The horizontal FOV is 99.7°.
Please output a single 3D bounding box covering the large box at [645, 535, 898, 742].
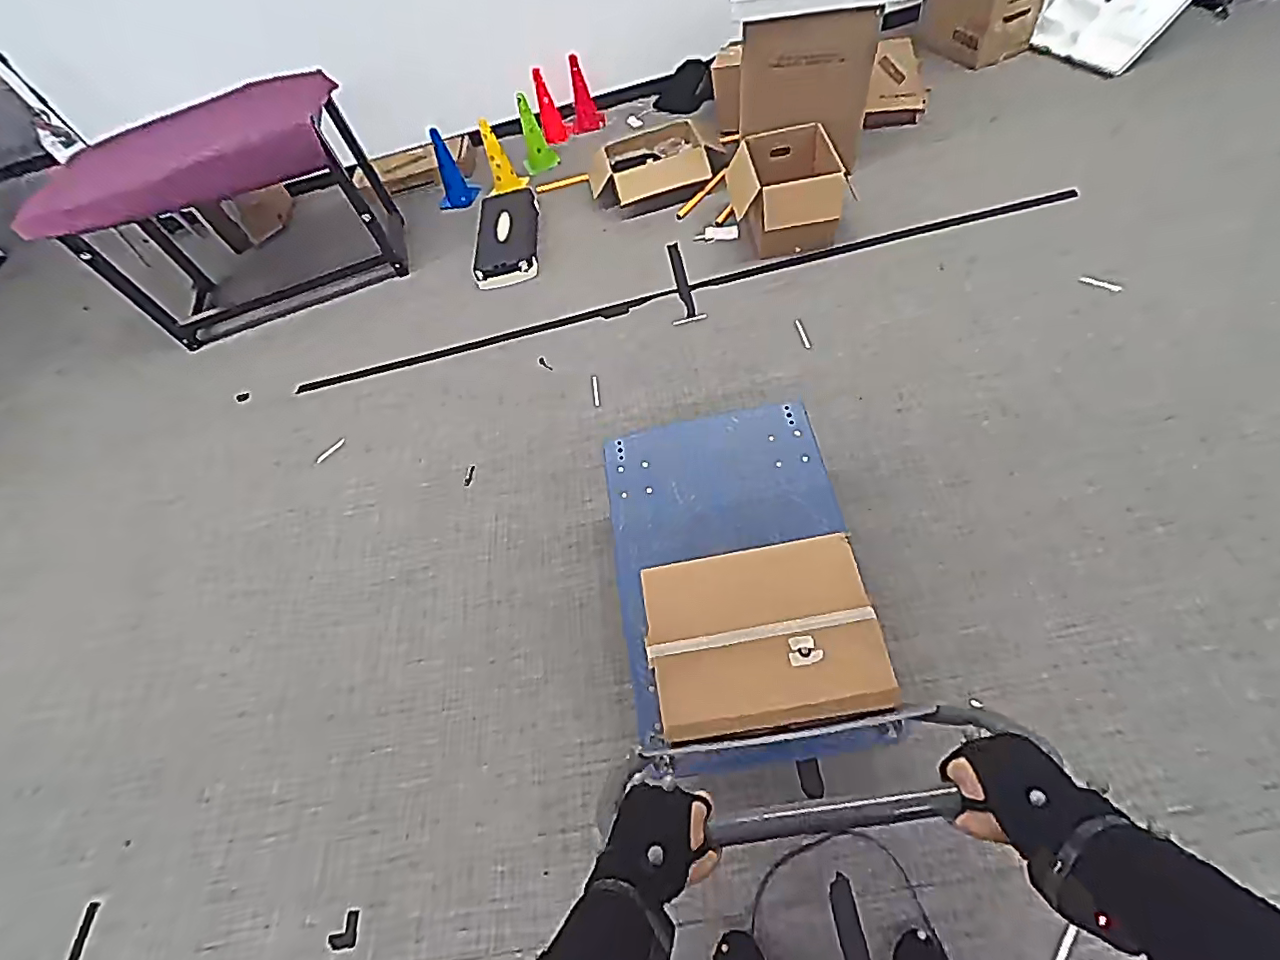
[{"bbox_3d":[0.245,0.346,1.129,0.408,0.320,0.320,-11,64,4],"label":"large box"}]
